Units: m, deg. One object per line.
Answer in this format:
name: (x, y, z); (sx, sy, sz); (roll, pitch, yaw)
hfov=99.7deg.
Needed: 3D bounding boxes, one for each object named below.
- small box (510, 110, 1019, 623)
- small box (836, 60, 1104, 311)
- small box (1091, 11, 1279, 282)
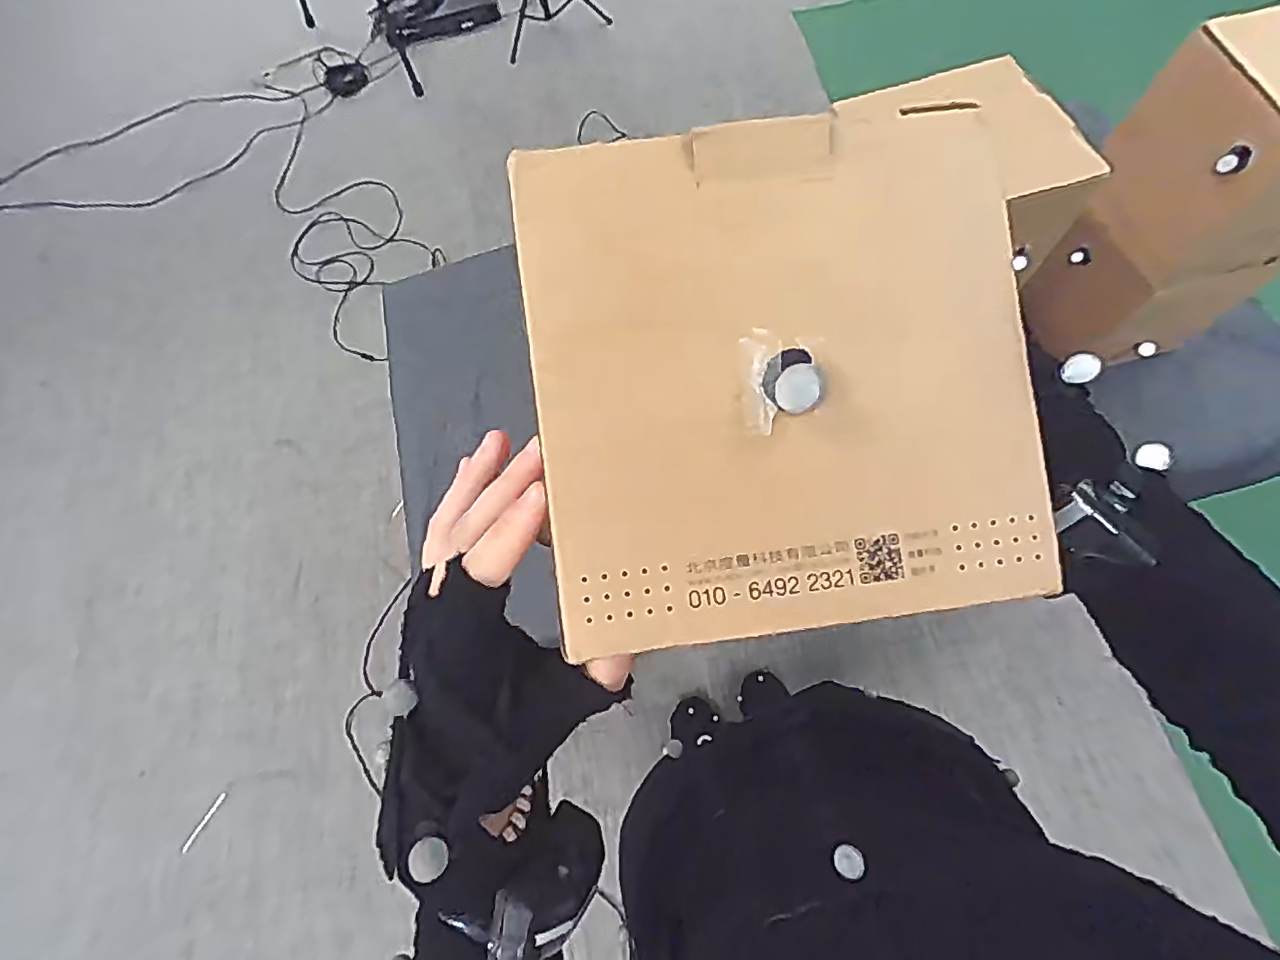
small box: (0.044, -0.033, 0.264); (0.168, 0.179, 0.176); (-6, 89, -2)
small box: (0.291, -0.269, 0.550); (0.179, 0.176, 0.168); (-16, 67, 0)
small box: (0.608, -0.320, 0.536); (0.168, 0.176, 0.179); (-11, 68, 1)
